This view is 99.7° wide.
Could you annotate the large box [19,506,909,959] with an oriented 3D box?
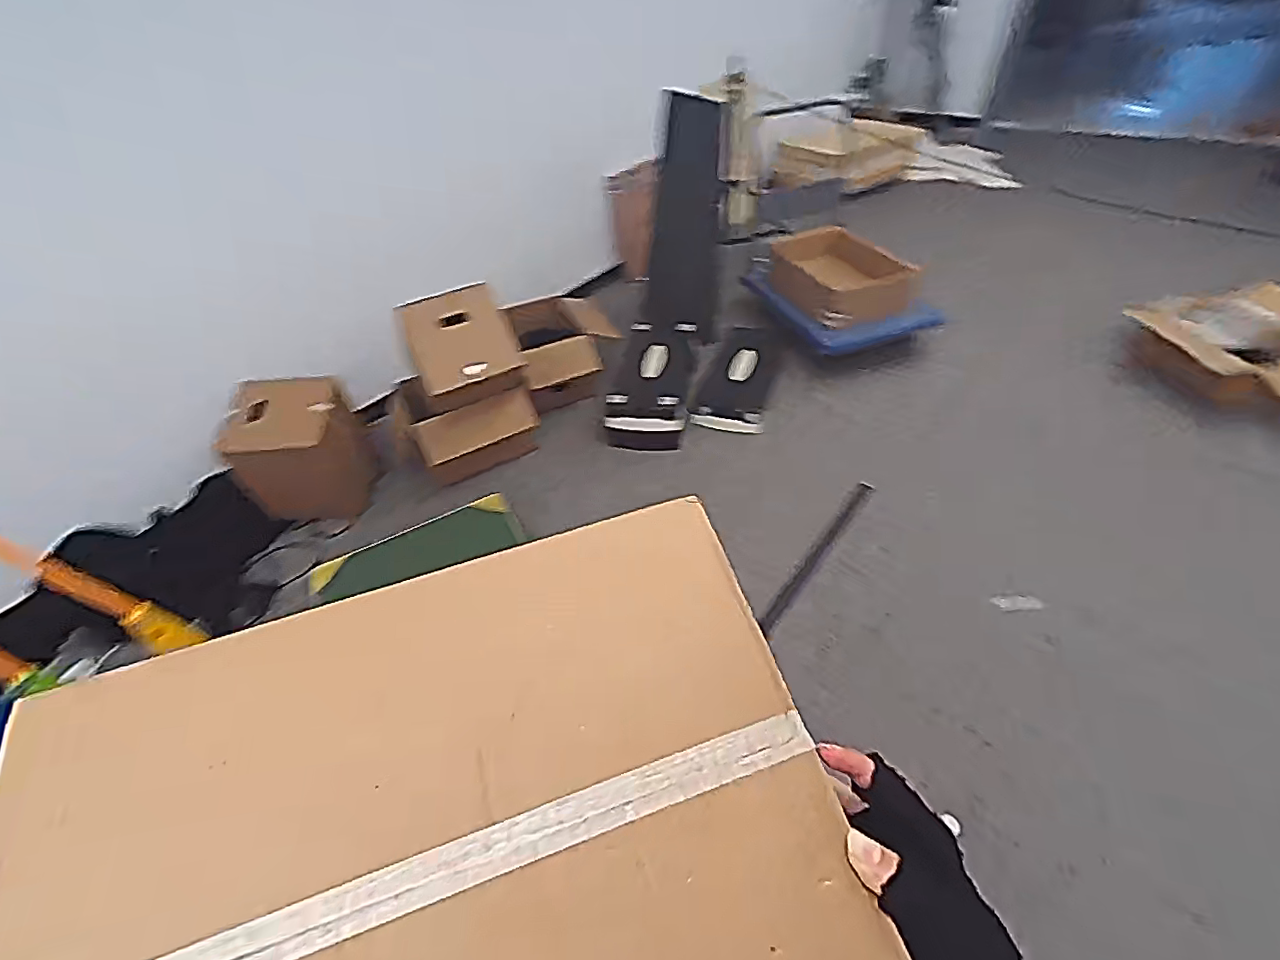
[{"bbox_3d":[-0.095,0.272,0.396,0.408,0.320,0.320,-16,61,-9],"label":"large box"}]
